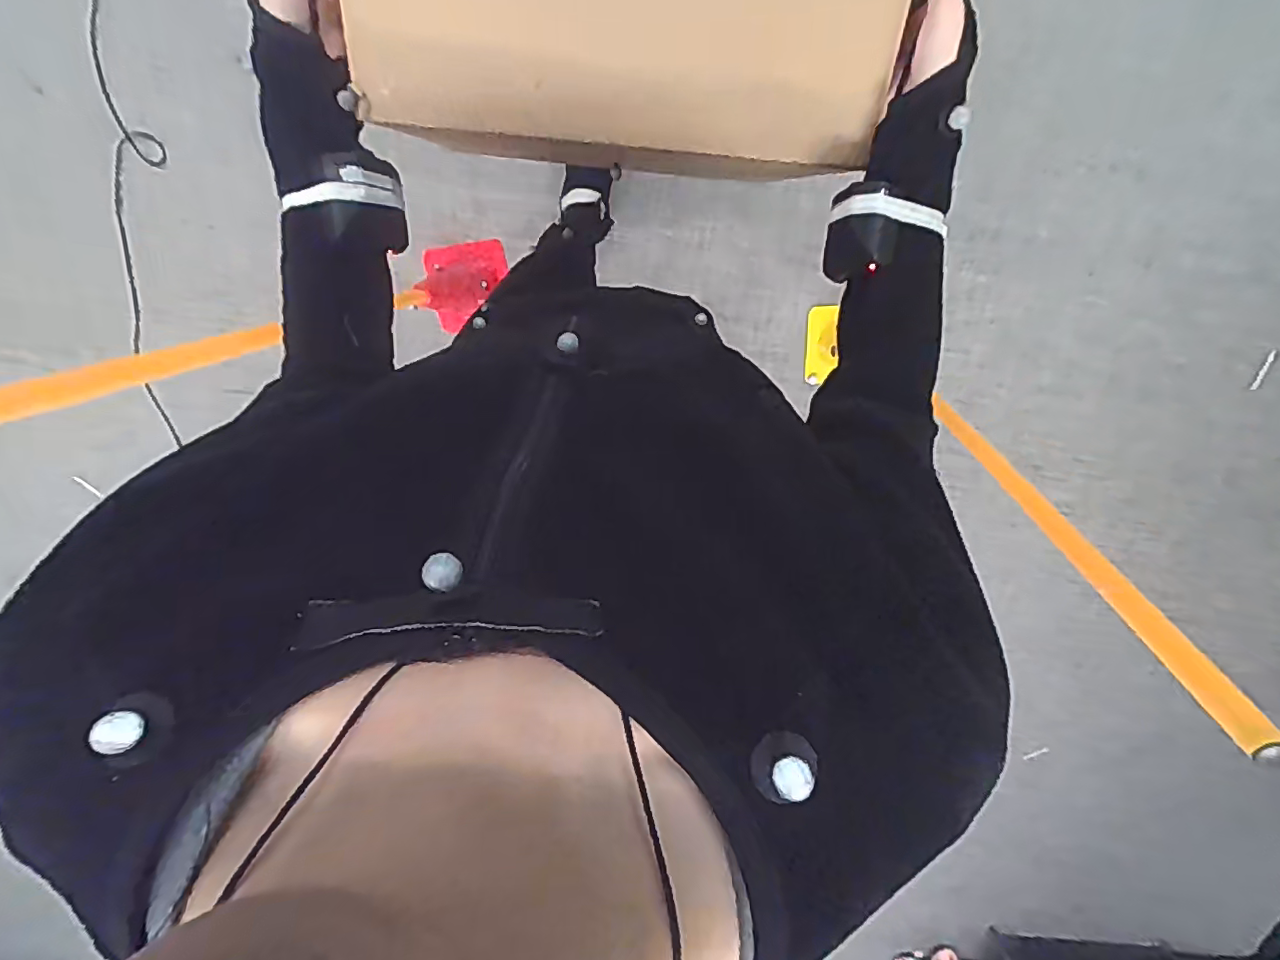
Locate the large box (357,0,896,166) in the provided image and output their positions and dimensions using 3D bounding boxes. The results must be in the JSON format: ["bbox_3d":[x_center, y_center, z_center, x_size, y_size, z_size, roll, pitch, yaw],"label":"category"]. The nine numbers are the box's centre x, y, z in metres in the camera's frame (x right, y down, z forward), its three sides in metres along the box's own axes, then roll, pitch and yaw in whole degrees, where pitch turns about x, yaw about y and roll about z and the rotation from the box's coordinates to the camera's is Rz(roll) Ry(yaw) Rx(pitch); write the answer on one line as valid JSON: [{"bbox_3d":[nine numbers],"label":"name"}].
[{"bbox_3d":[-0.008,-0.481,0.496,0.408,0.320,0.320,2,117,-6],"label":"large box"}]
